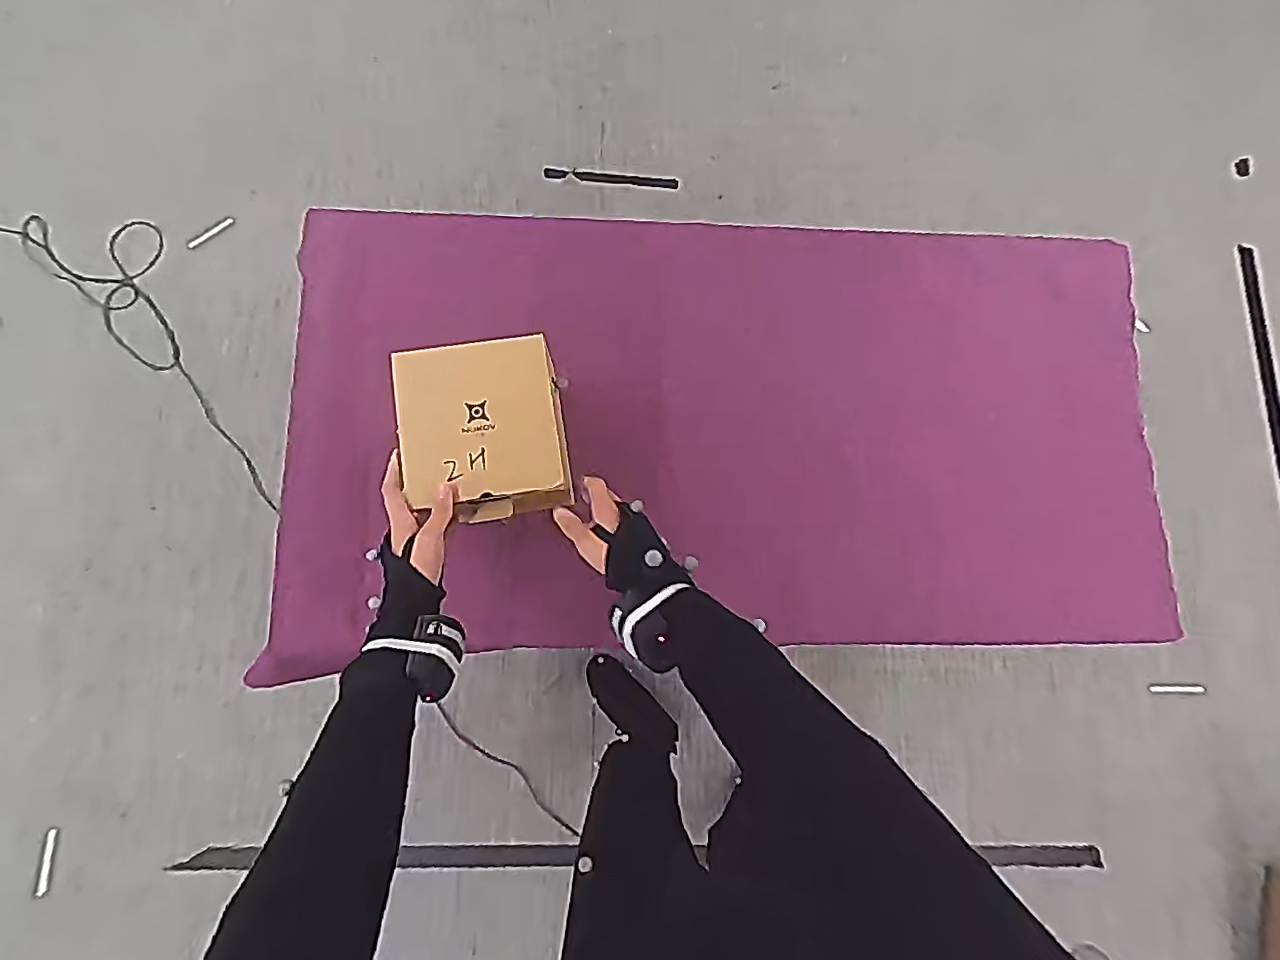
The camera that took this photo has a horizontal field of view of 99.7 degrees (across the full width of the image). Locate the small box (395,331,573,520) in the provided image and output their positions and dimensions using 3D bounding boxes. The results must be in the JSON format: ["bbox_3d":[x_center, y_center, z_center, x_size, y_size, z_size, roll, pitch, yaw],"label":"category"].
[{"bbox_3d":[-0.175,-0.055,0.647,0.168,0.176,0.179,-8,82,-4],"label":"small box"}]
